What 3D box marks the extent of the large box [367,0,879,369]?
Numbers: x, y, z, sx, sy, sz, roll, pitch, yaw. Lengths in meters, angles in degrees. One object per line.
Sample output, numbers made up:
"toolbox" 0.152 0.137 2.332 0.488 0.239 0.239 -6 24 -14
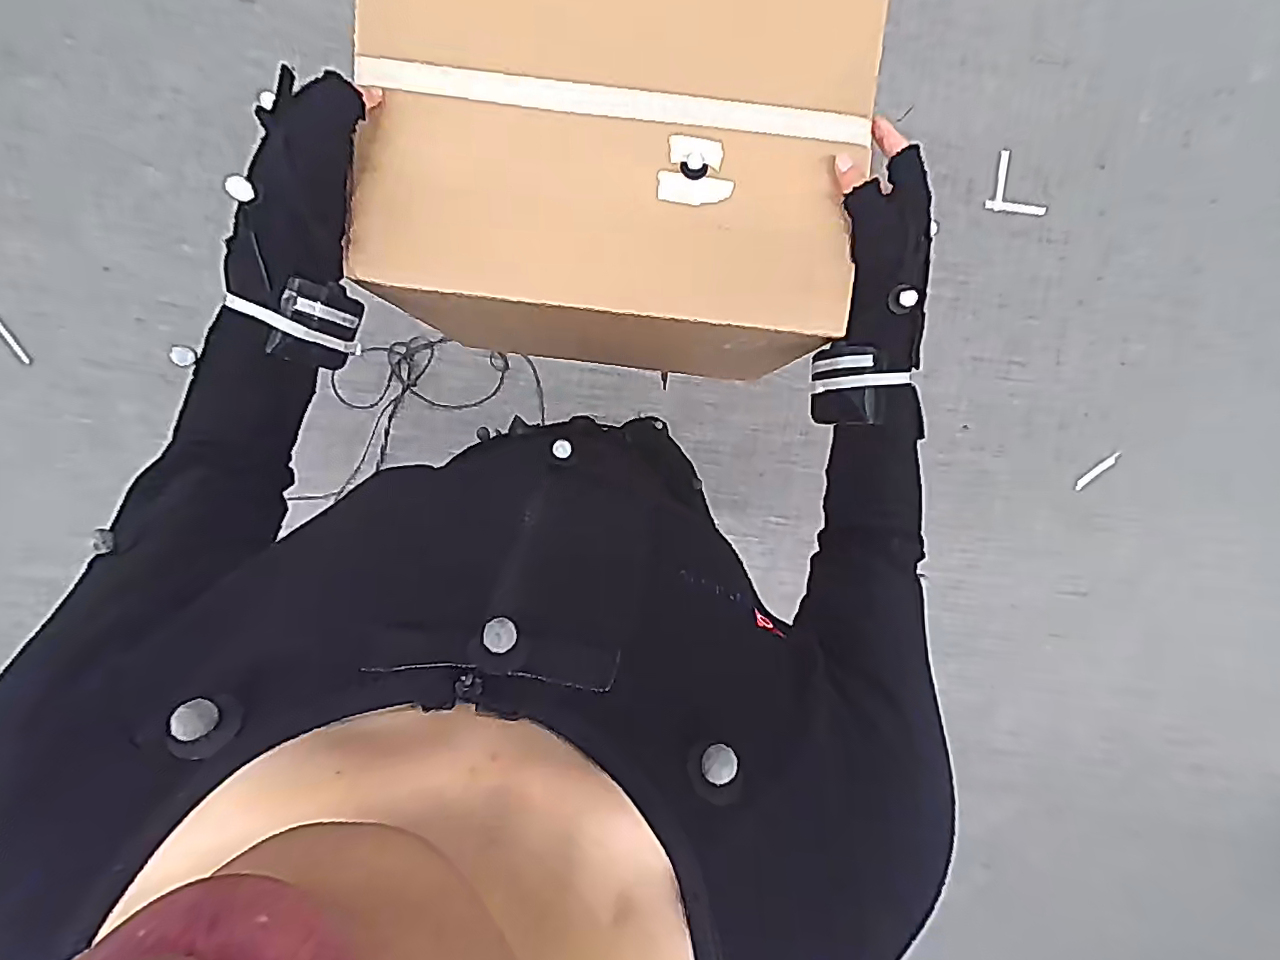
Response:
"large box" -0.018 -0.312 0.586 0.408 0.320 0.320 6 94 -2
